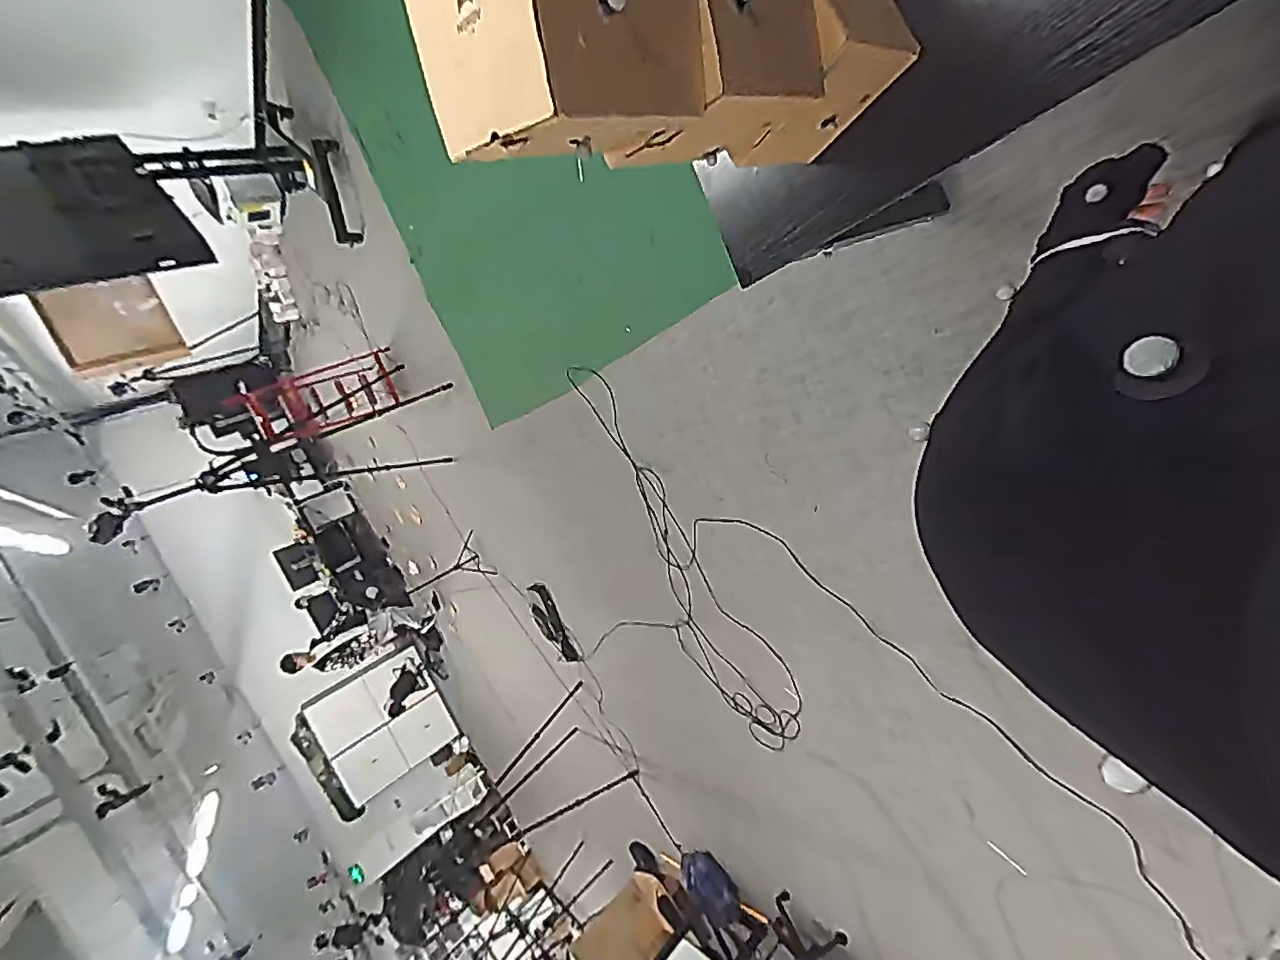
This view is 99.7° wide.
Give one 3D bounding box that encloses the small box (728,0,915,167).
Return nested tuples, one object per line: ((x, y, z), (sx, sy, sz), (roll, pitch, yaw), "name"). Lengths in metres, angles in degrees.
((0.179, -0.501, 0.630), (0.168, 0.176, 0.179), (-29, 91, 54), "small box")

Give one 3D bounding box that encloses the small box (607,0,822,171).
((0.060, -0.436, 0.538), (0.168, 0.176, 0.179), (5, 117, 49), "small box")

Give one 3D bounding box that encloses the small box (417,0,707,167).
((-0.060, -0.376, 0.443), (0.168, 0.176, 0.179), (17, 128, 43), "small box")
